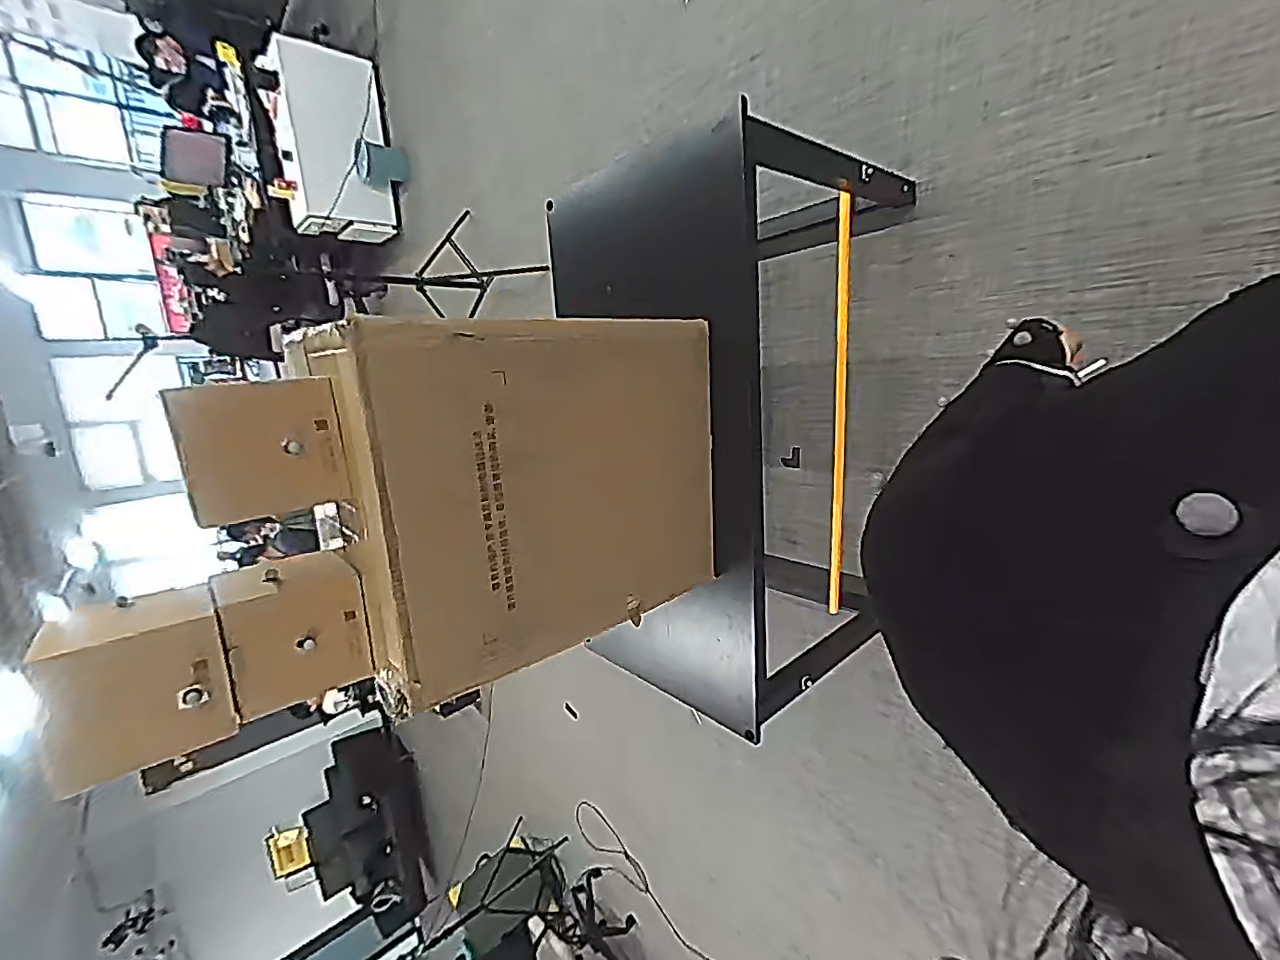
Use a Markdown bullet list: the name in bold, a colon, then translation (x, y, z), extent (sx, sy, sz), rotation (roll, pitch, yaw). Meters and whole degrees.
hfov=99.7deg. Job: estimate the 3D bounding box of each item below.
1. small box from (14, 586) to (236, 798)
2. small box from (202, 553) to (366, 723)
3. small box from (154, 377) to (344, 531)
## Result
- **small box**: translation (-0.633, 0.247, 0.686), extent (0.179, 0.176, 0.168), rotation (7, 106, 48)
- **small box**: translation (-0.519, 0.217, 0.801), extent (0.179, 0.176, 0.168), rotation (9, 105, 48)
- **small box**: translation (-0.514, -0.046, 0.720), extent (0.179, 0.176, 0.168), rotation (10, 110, 47)
